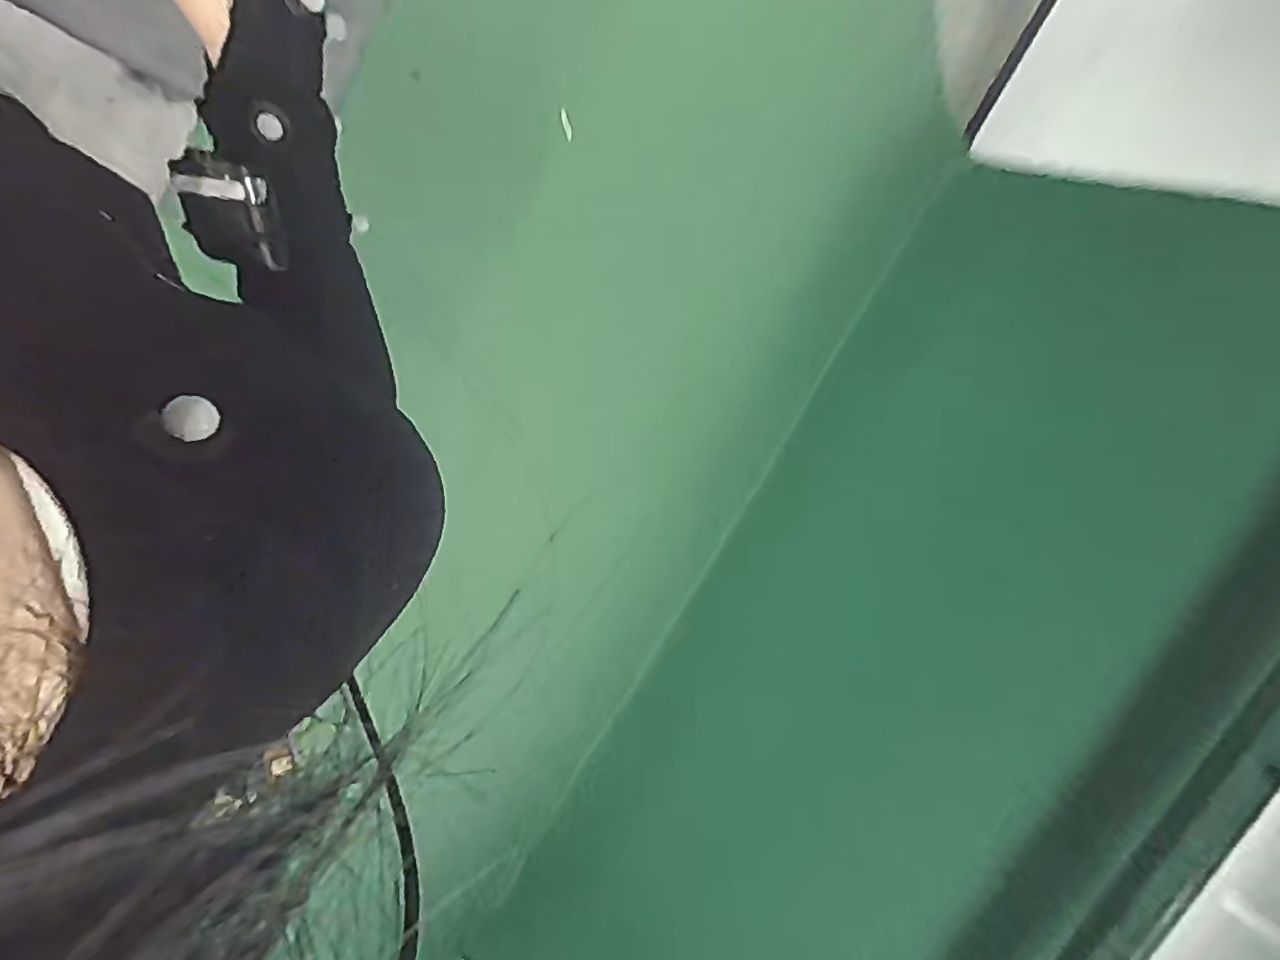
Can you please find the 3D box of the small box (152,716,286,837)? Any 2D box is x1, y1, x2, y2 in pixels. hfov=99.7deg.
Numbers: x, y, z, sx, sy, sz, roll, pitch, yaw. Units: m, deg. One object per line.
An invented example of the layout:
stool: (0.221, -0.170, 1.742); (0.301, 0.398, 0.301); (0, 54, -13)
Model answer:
small box: (-0.978, 0.674, 1.257); (0.168, 0.176, 0.179); (-57, 147, 3)
